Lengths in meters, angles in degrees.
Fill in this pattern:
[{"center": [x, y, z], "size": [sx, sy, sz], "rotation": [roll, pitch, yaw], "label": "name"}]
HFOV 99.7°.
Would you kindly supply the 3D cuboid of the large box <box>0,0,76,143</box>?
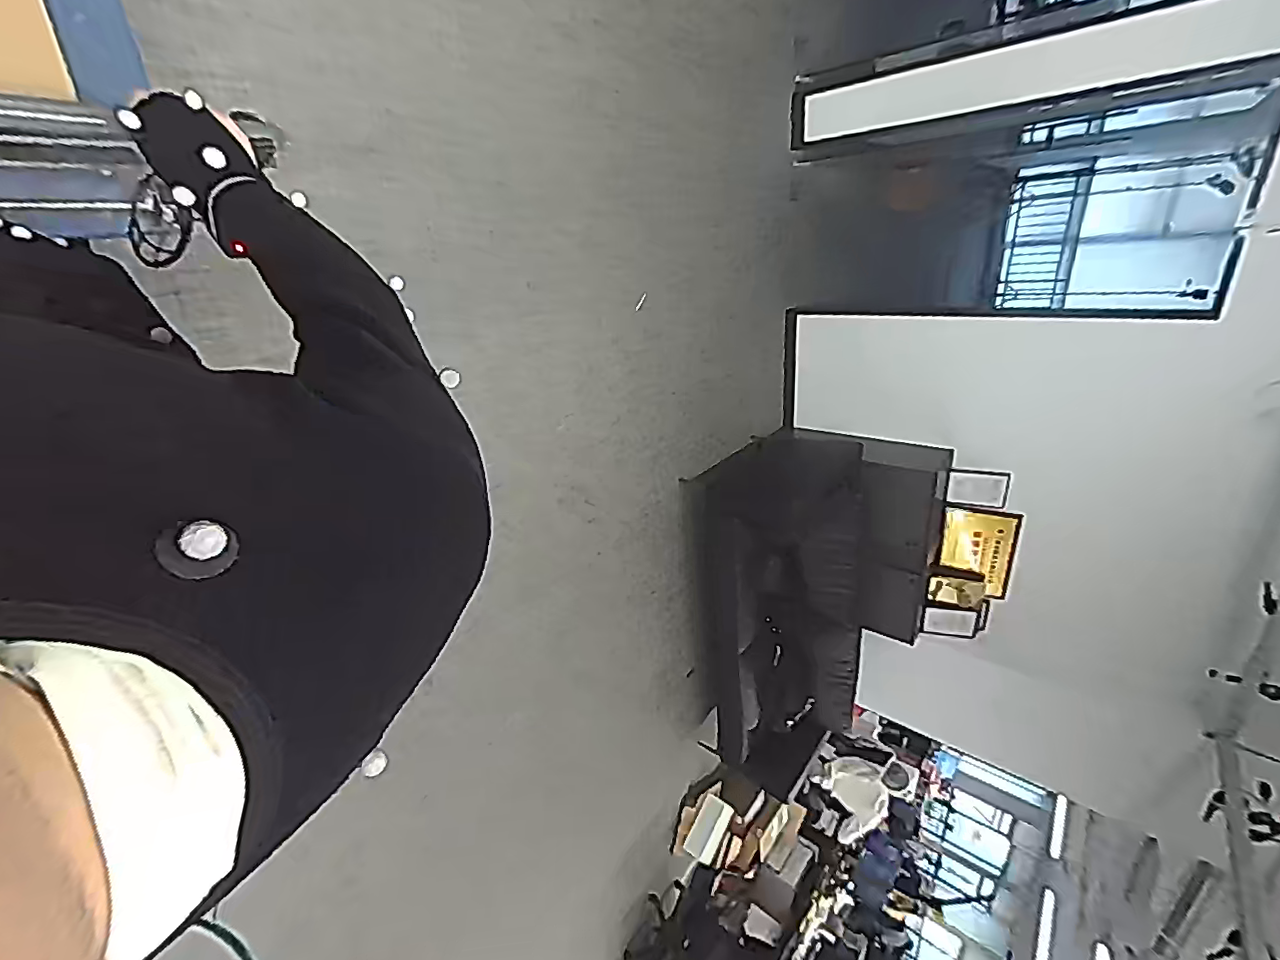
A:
[{"center": [-1.009, -0.688, 0.670], "size": [0.320, 0.320, 0.408], "rotation": [-26, 121, -45], "label": "large box"}]
